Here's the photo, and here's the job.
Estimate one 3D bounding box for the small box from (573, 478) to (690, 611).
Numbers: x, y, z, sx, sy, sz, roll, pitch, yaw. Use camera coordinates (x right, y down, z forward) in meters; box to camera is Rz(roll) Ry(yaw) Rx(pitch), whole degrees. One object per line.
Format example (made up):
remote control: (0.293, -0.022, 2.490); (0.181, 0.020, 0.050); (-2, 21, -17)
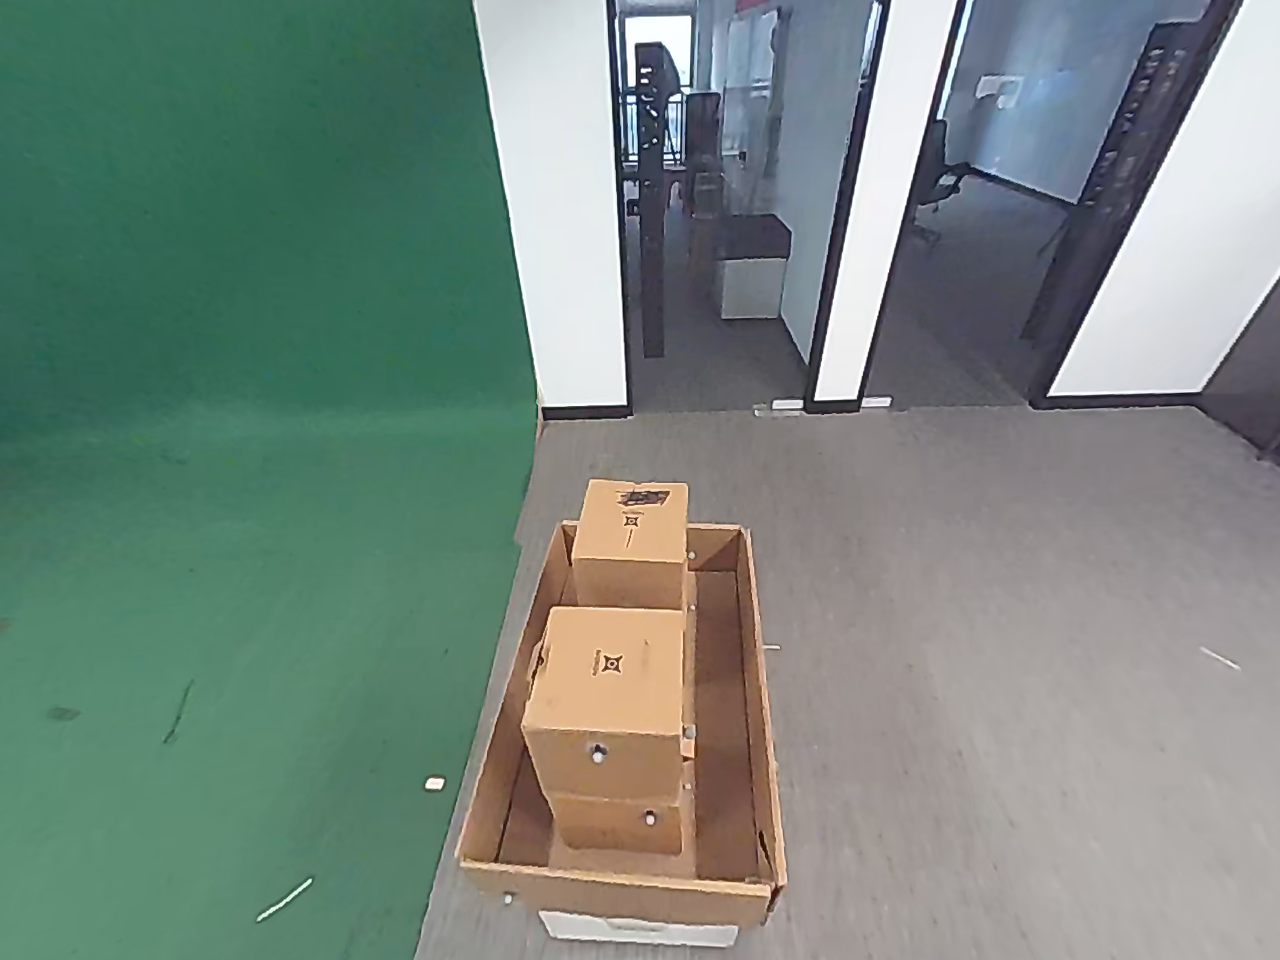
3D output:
small box: (-0.008, 0.119, 0.891); (0.168, 0.176, 0.179); (3, 42, 6)

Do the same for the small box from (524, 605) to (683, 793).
small box: (-0.034, 0.281, 0.696); (0.179, 0.176, 0.168); (2, 39, 4)
